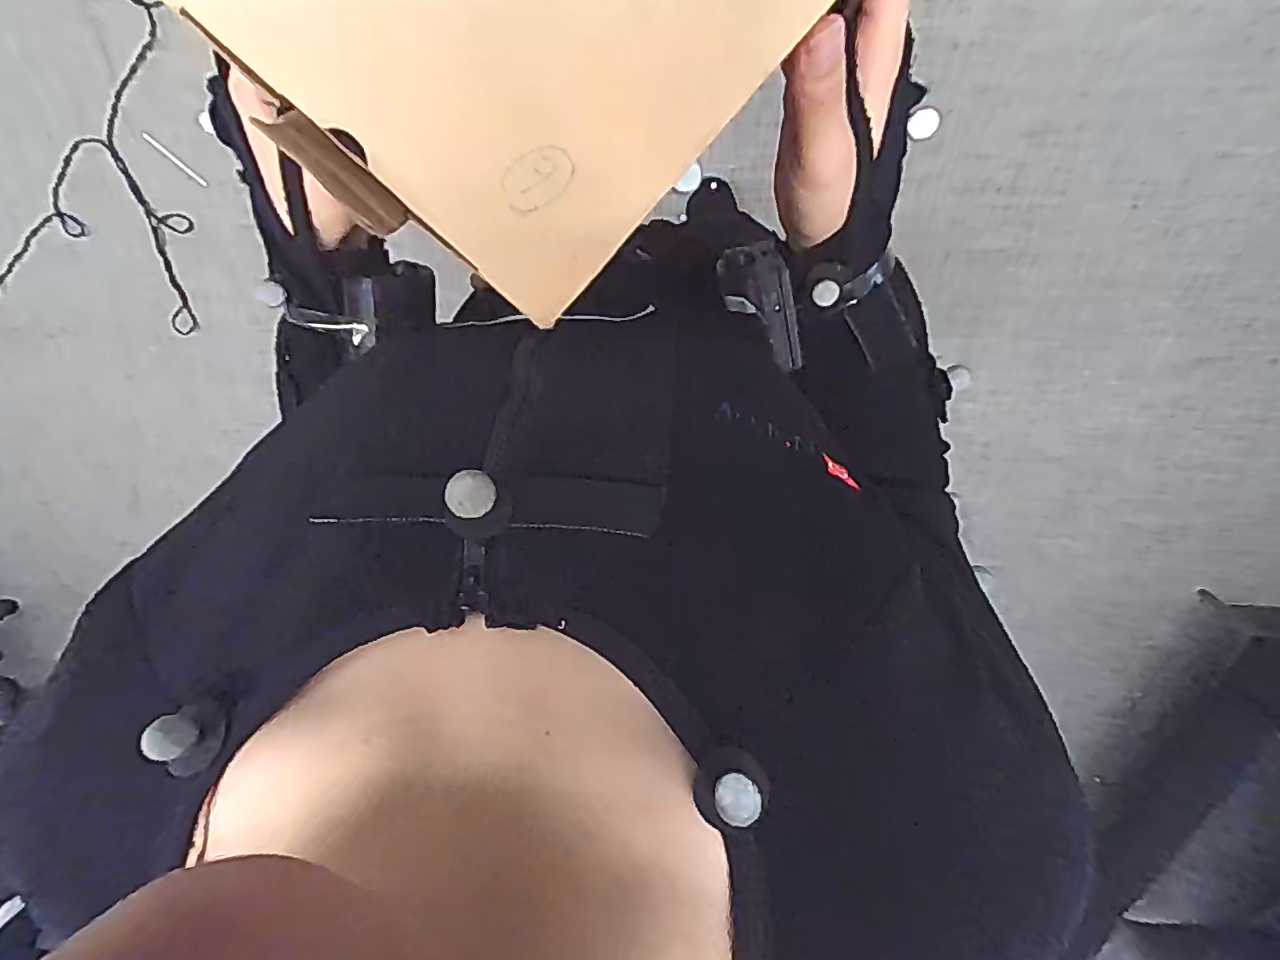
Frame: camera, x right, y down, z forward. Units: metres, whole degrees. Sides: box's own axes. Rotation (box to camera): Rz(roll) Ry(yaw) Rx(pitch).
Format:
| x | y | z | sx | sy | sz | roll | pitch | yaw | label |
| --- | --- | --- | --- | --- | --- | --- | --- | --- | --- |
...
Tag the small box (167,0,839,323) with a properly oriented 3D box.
| x | y | z | sx | sy | sz | roll | pitch | yaw | label |
| --- | --- | --- | --- | --- | --- | --- | --- | --- | --- |
| -0.034 | -0.201 | 0.213 | 0.168 | 0.176 | 0.179 | 39 | 117 | -22 | small box |
